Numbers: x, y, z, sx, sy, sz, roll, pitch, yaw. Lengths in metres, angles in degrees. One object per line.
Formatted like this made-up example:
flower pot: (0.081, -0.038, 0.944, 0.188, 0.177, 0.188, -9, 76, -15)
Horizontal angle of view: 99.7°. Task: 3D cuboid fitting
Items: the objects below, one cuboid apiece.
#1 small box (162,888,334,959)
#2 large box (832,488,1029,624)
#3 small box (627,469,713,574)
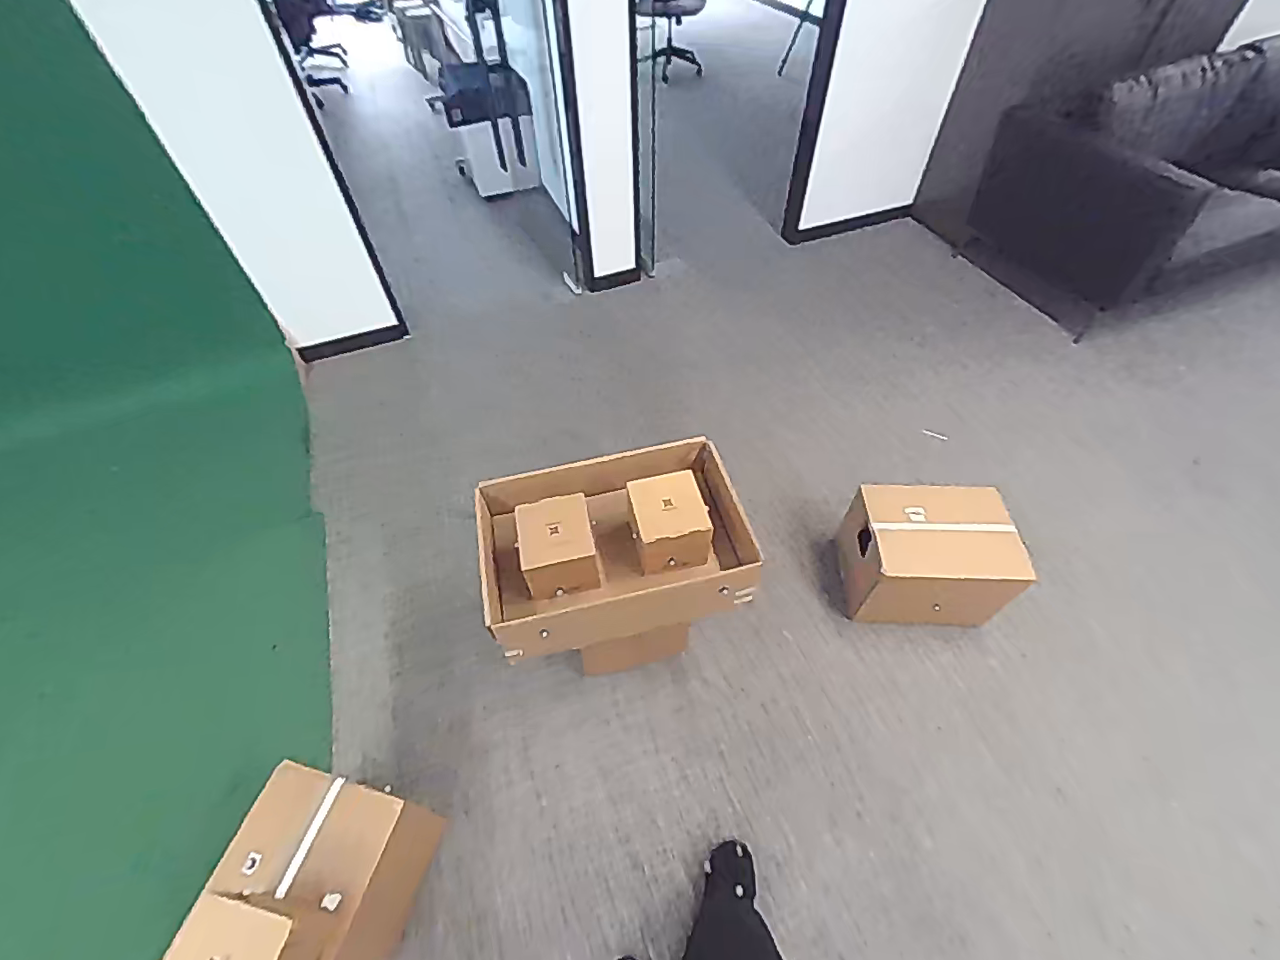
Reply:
small box: (-0.662, 0.808, 0.900, 0.179, 0.176, 0.168, 11, 53, 7)
large box: (0.848, 0.235, 1.647, 0.408, 0.320, 0.320, 1, 52, 2)
small box: (0.065, 0.103, 1.317, 0.168, 0.176, 0.179, -12, 54, -8)
